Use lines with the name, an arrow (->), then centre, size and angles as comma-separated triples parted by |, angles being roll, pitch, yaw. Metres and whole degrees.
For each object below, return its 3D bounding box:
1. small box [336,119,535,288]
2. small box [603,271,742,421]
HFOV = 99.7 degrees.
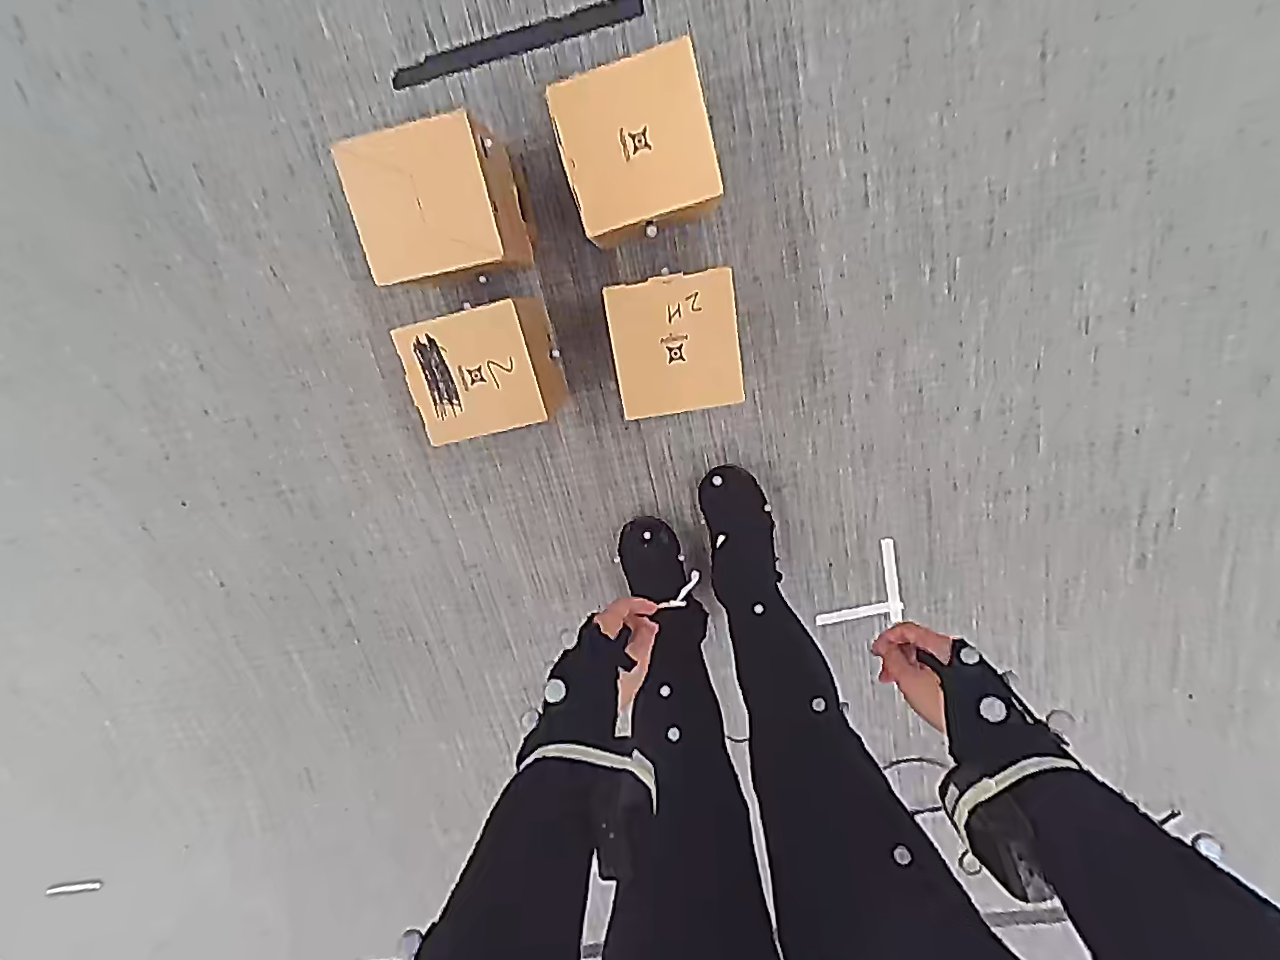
small box -> -0.264, -0.363, 0.735 | 0.179, 0.176, 0.168 | -10, 108, 6
small box -> 0.049, -0.197, 0.780 | 0.168, 0.176, 0.179 | -8, 108, 4
